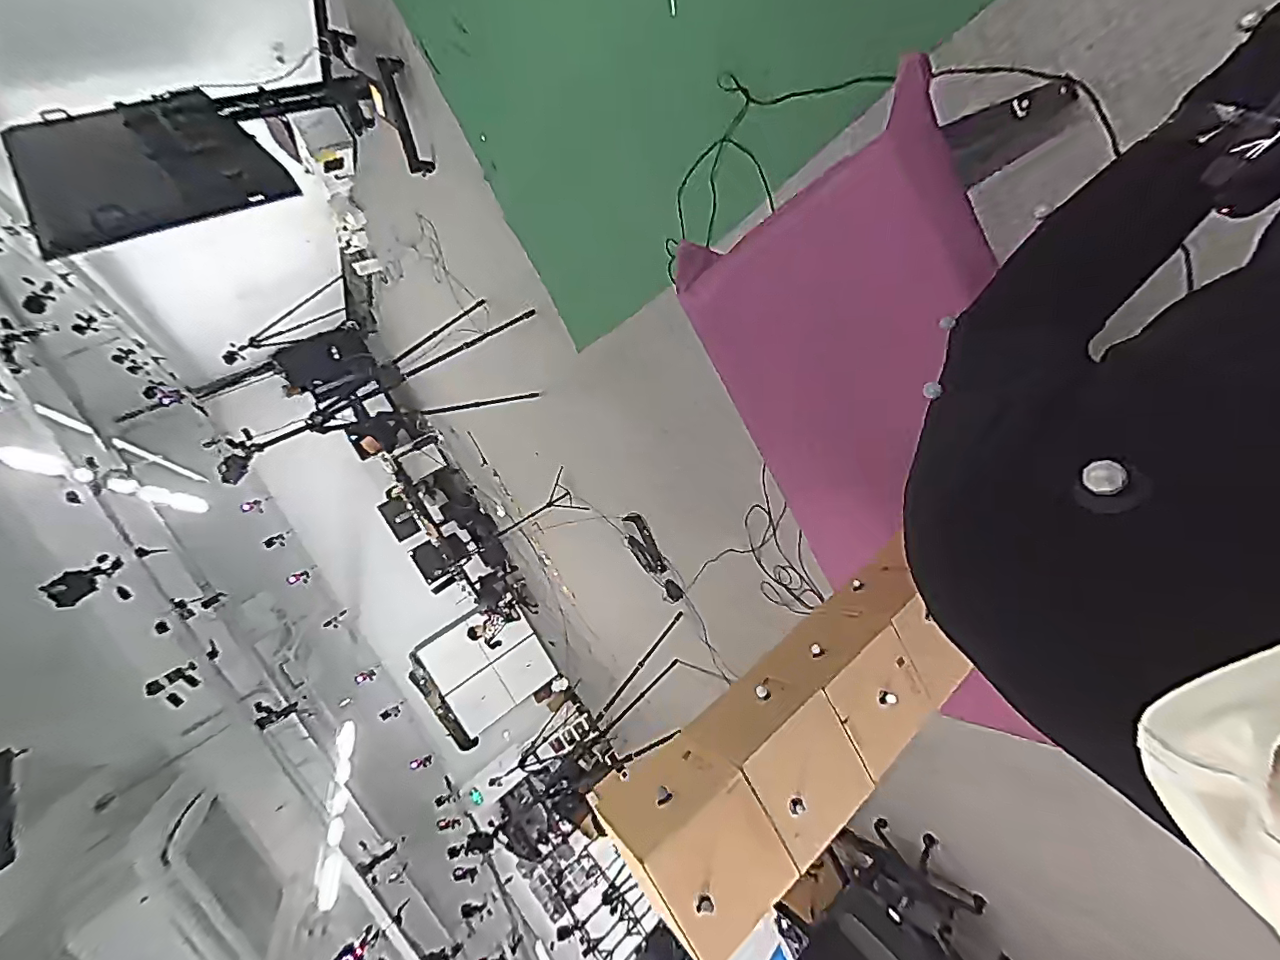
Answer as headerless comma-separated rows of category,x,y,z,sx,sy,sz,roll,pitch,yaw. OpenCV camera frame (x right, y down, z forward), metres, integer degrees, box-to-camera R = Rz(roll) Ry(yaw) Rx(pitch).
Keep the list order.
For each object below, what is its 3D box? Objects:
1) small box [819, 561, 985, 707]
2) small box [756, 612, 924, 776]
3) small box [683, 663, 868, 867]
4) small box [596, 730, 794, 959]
small box,0.457,0.255,0.946,0.179,0.176,0.168,61,155,-6
small box,0.328,0.332,0.882,0.168,0.176,0.179,62,154,-5
small box,0.202,0.408,0.807,0.179,0.176,0.168,62,155,-4
small box,0.073,0.481,0.741,0.179,0.176,0.168,61,155,-5
